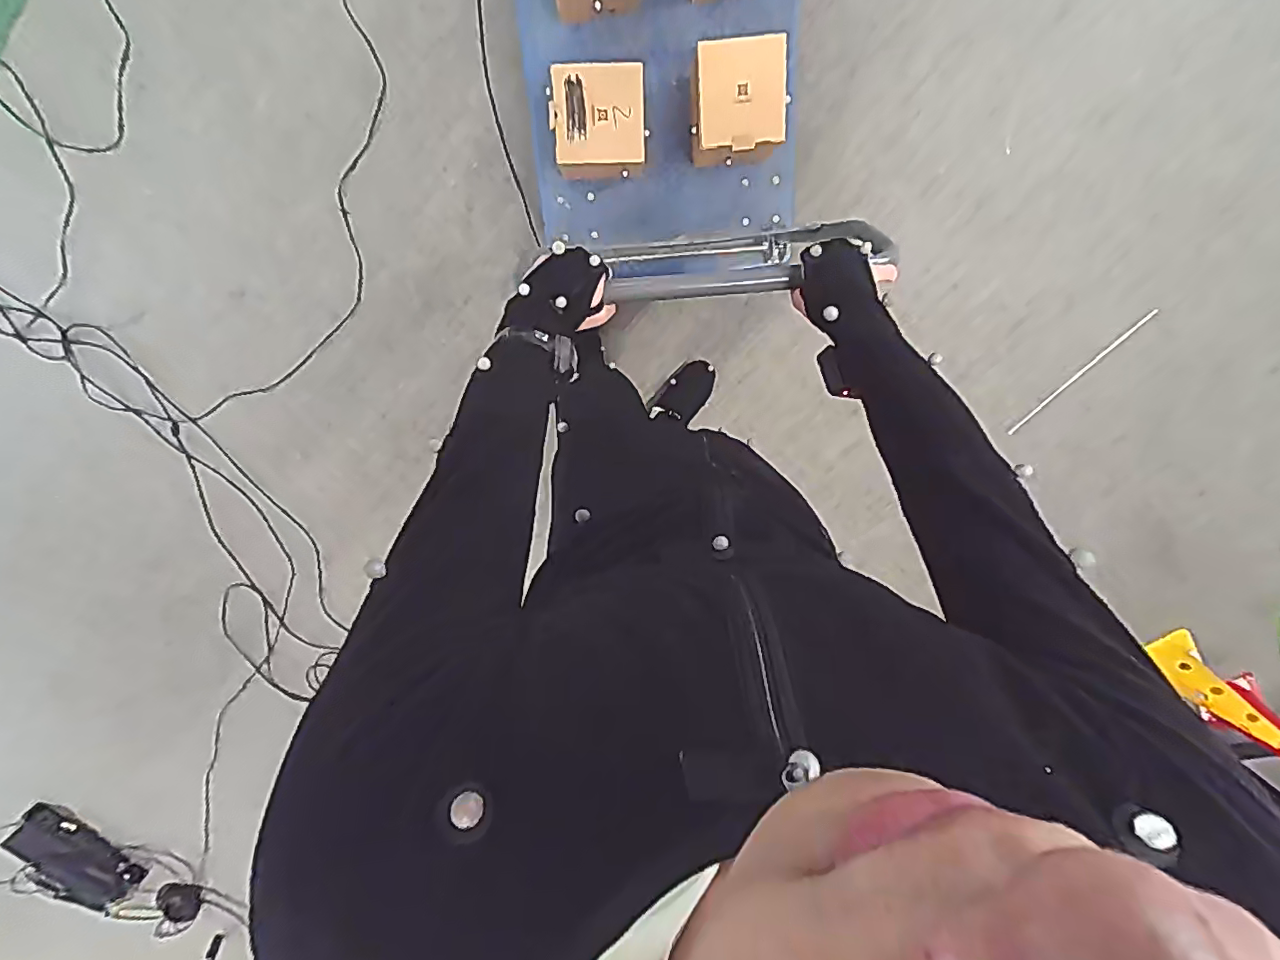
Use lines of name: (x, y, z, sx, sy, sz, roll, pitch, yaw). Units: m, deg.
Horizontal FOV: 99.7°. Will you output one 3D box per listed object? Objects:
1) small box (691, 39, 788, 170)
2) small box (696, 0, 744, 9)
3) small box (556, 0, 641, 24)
small box: (0.196, -0.752, 1.099, 0.168, 0.176, 0.179, -5, 110, 1)
small box: (0.177, -1.030, 1.000, 0.168, 0.176, 0.179, -9, 110, 4)
small box: (-0.090, -0.995, 1.010, 0.168, 0.176, 0.179, -10, 109, 2)
